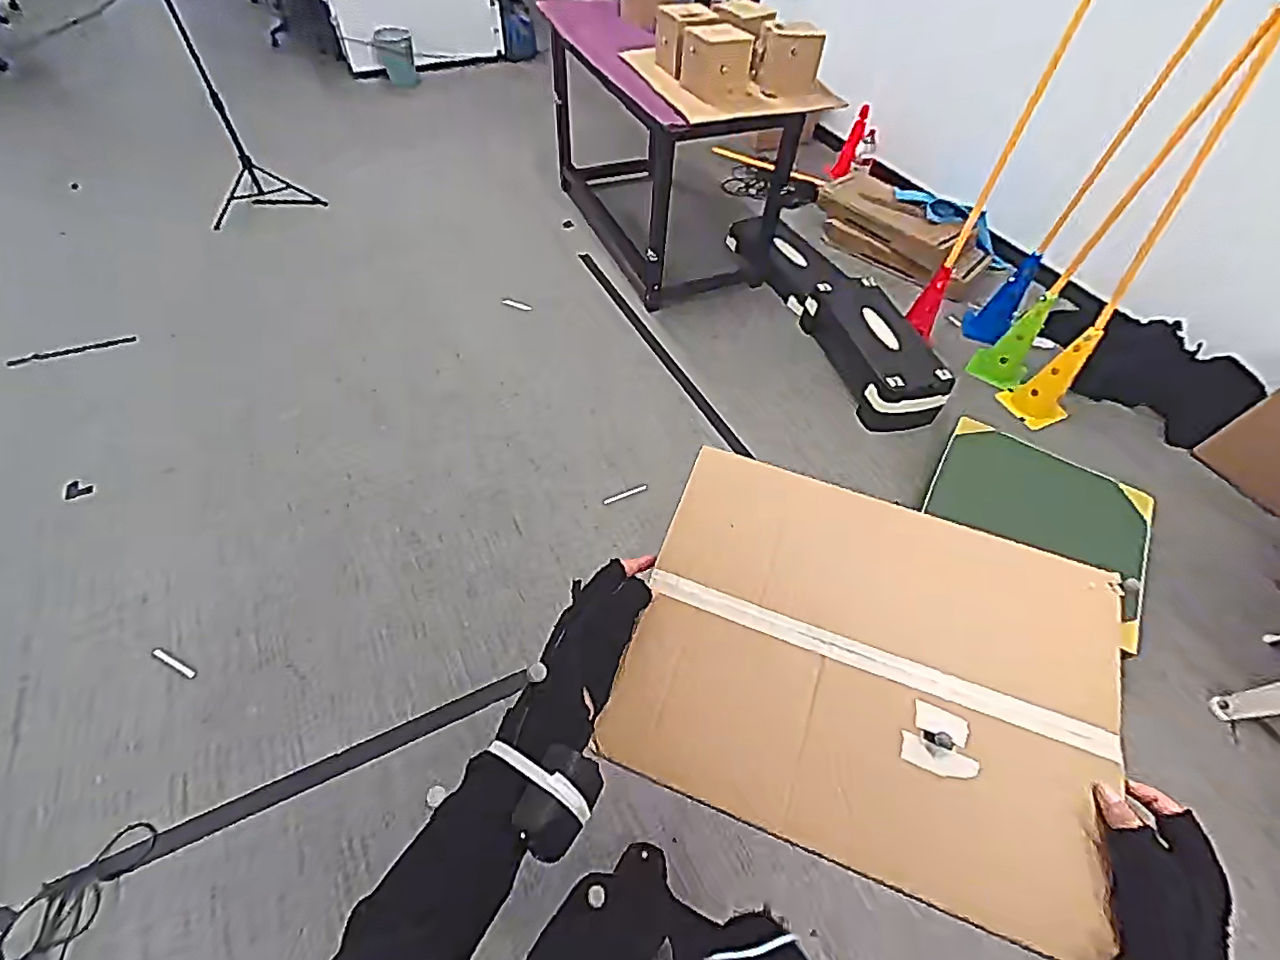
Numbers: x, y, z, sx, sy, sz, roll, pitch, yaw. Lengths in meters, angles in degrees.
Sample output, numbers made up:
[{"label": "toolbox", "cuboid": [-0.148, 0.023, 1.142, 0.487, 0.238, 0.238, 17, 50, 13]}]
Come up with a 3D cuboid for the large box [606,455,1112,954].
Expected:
[{"label": "large box", "cuboid": [0.208, 0.224, 0.621, 0.408, 0.320, 0.320, 19, 67, 11]}]
